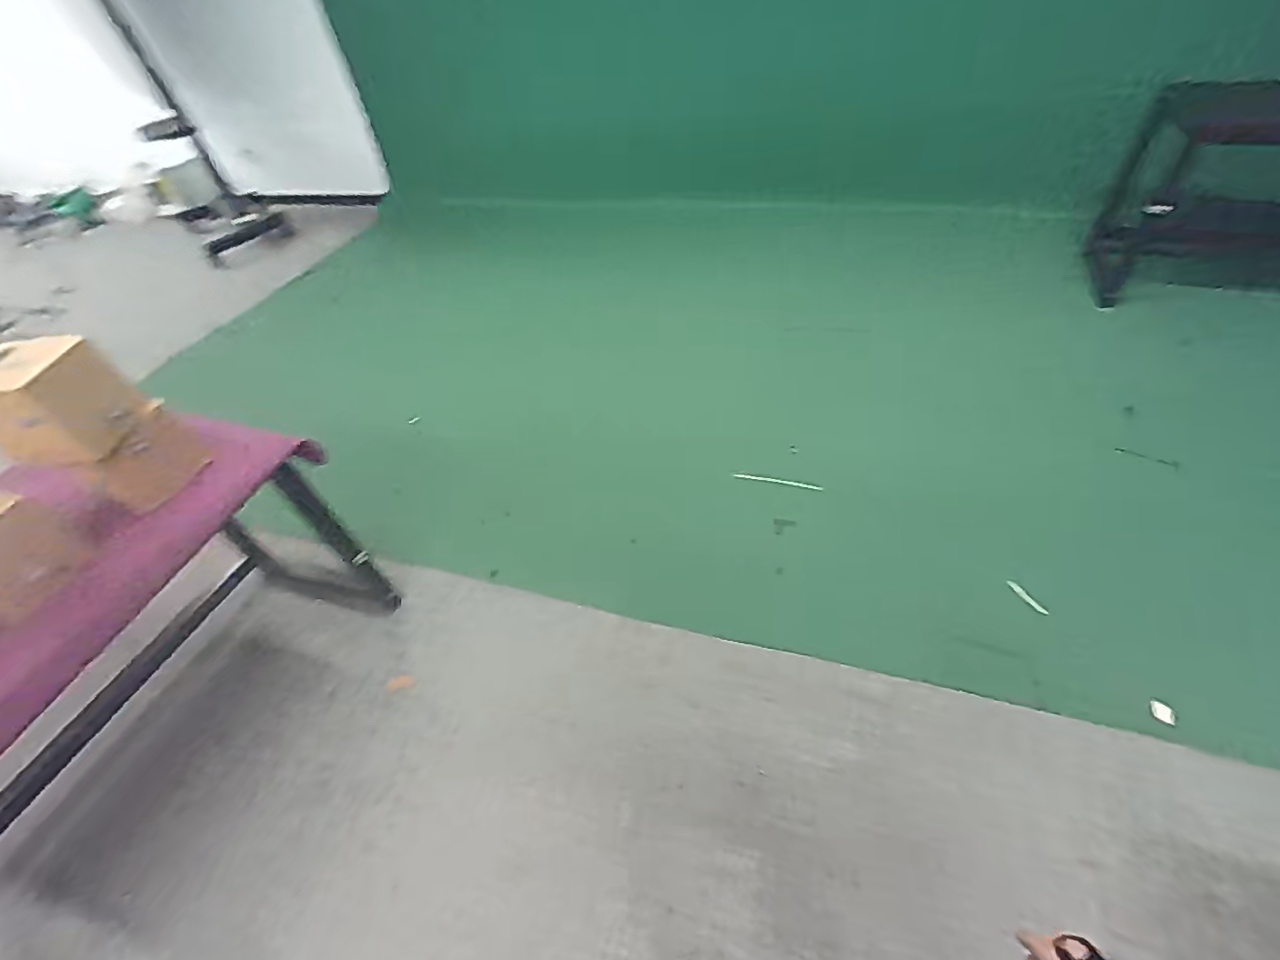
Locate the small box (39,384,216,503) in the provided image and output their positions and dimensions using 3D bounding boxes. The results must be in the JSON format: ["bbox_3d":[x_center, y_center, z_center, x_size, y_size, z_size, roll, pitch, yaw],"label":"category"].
[{"bbox_3d":[-1.067,-0.076,1.144,0.168,0.176,0.179,12,50,18],"label":"small box"}]
